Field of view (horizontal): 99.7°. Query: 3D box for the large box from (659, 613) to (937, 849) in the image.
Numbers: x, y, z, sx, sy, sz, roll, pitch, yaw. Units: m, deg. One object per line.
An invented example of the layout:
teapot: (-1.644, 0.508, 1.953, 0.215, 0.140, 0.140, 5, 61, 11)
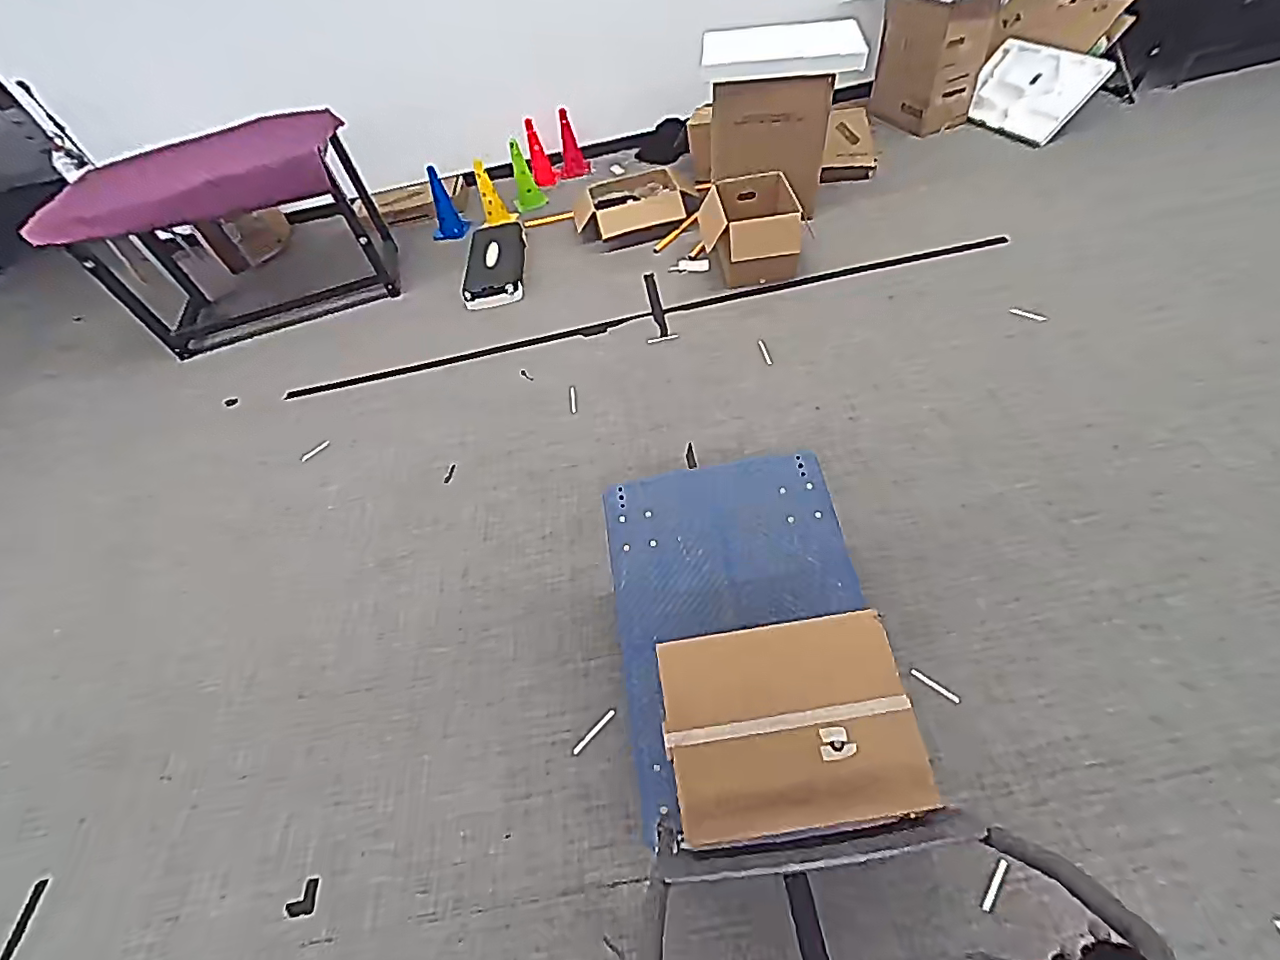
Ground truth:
large box: (0.265, 0.475, 1.052, 0.408, 0.320, 0.320, -10, 66, 1)
